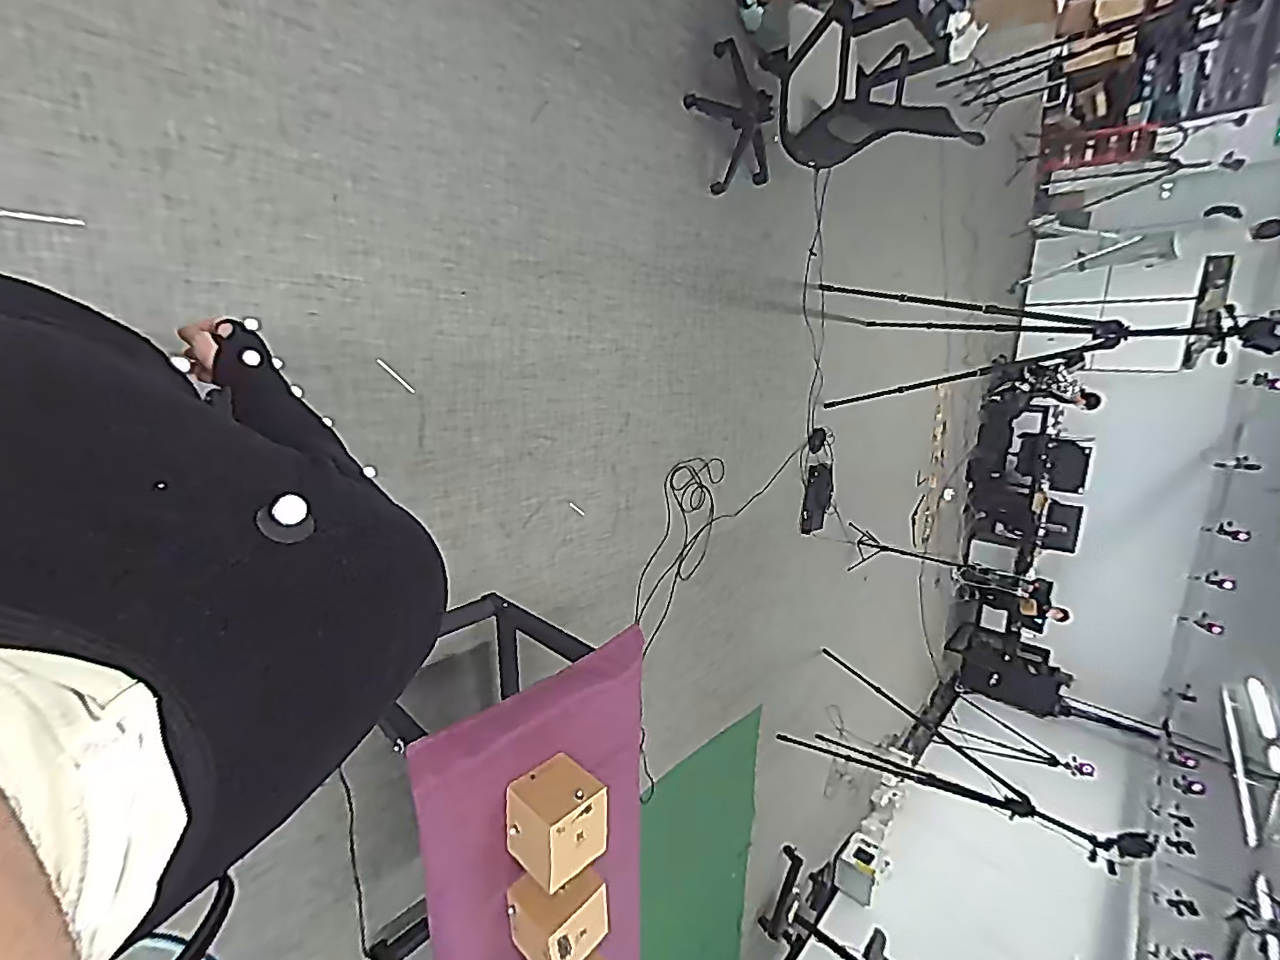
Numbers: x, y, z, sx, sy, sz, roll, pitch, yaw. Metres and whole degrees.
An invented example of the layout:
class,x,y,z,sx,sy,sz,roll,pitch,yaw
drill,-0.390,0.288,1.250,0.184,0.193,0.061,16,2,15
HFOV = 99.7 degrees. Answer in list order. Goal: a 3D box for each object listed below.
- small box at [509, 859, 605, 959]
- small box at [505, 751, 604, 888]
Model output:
class,x,y,z,sx,sy,sz,roll,pitch,yaw
small box,-0.207,1.042,1.324,0.179,0.176,0.168,-18,112,-45
small box,-0.202,0.781,1.265,0.168,0.176,0.179,-11,108,-47
